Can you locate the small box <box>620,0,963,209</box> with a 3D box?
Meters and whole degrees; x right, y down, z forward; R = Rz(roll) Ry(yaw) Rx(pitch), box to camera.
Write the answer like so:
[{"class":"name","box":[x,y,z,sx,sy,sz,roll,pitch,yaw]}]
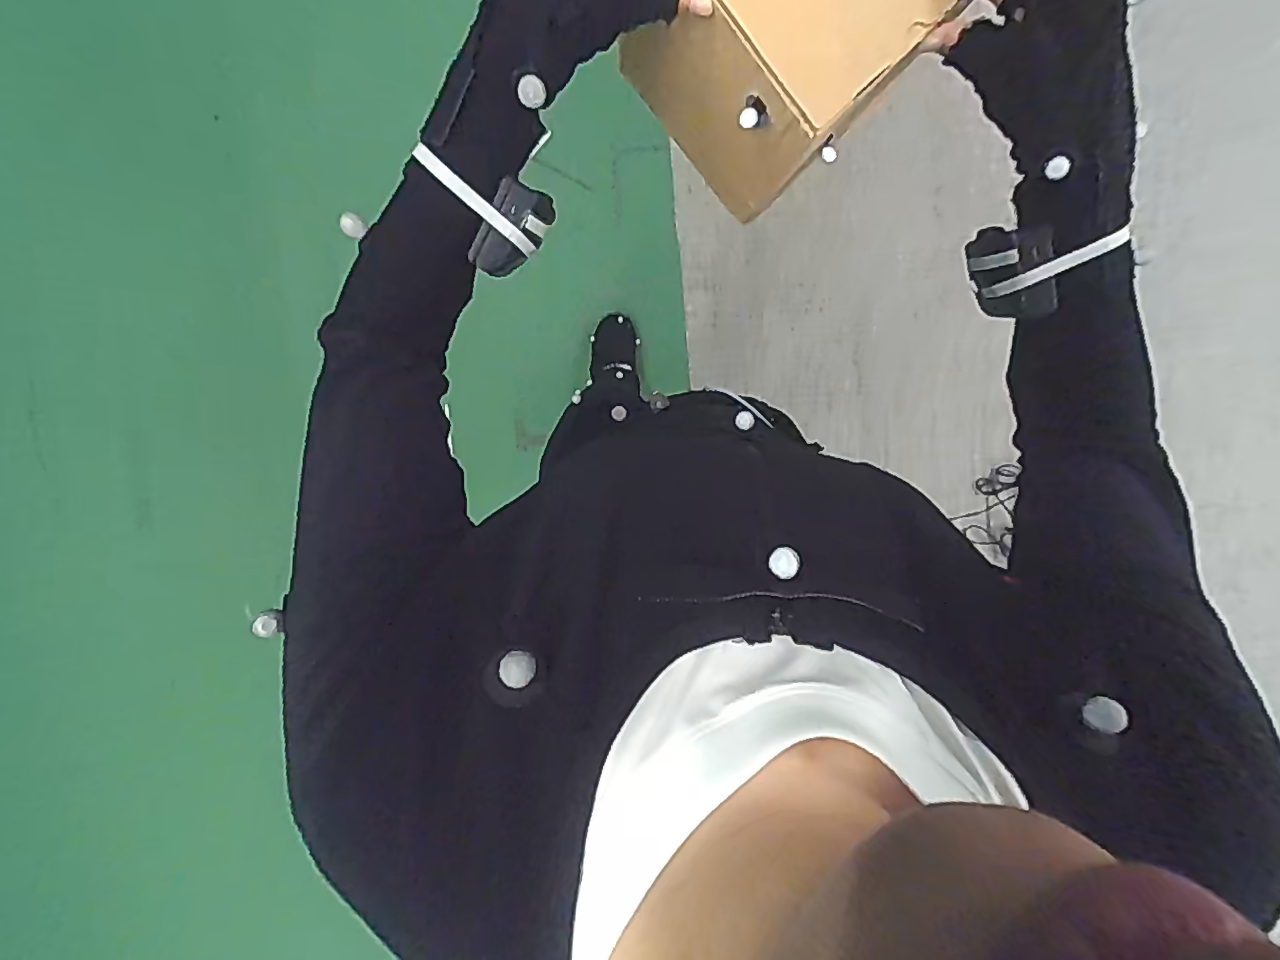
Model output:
[{"class":"small box","box":[0.099,-0.342,0.396,0.168,0.176,0.179,-42,100,2]}]
